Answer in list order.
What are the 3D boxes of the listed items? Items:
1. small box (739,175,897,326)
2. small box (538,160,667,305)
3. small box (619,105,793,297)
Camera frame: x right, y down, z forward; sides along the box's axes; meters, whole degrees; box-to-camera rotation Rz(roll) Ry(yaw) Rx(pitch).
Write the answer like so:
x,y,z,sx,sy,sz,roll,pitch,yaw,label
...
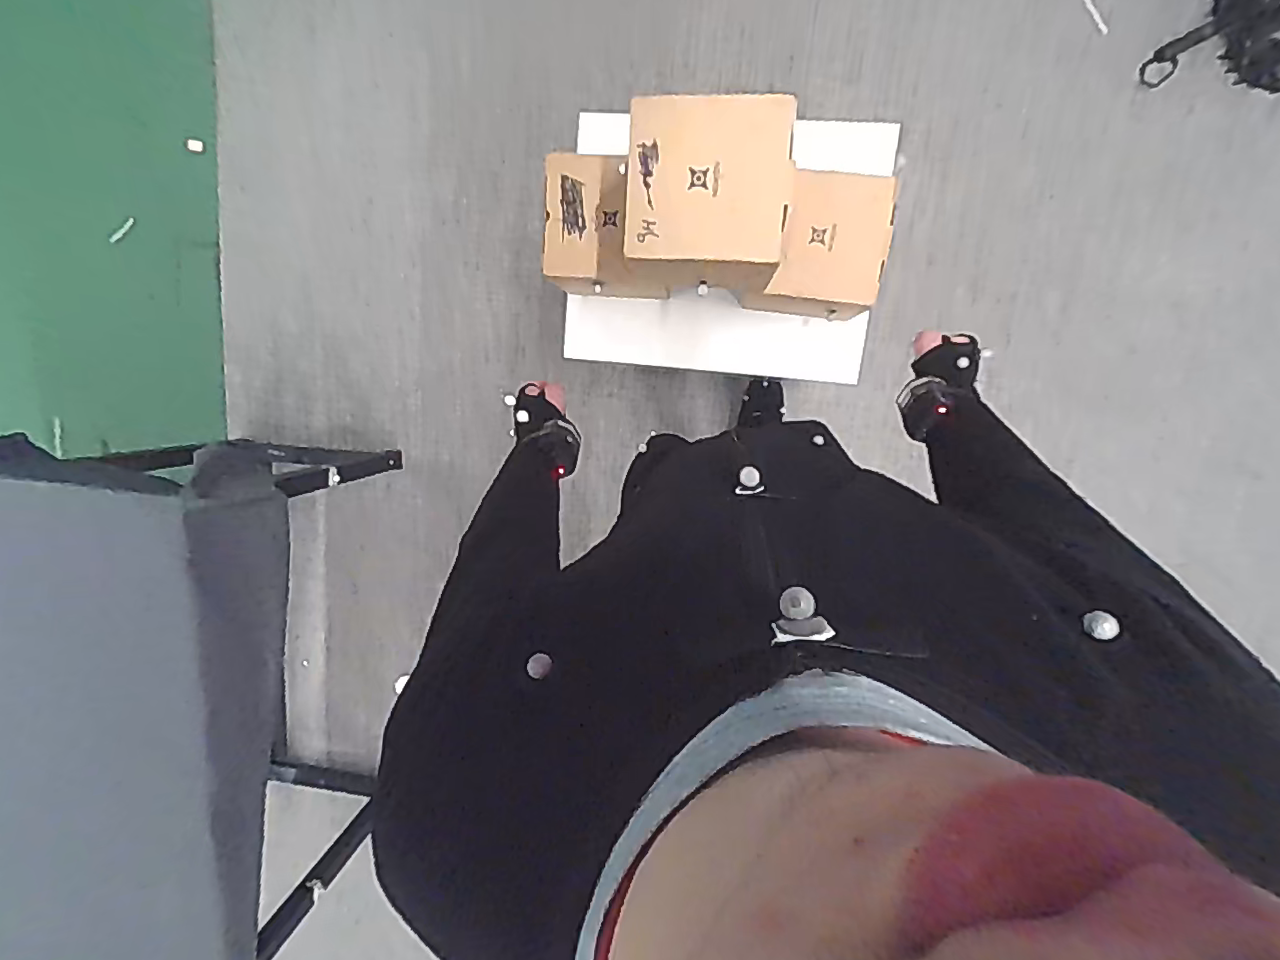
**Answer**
x,y,z,sx,sy,sz,roll,pitch,yaw,label
0.248,-0.328,0.800,0.179,0.176,0.168,10,100,8,small box
-0.046,-0.369,0.833,0.179,0.176,0.168,5,100,5,small box
0.076,-0.324,0.658,0.179,0.176,0.168,5,99,6,small box
